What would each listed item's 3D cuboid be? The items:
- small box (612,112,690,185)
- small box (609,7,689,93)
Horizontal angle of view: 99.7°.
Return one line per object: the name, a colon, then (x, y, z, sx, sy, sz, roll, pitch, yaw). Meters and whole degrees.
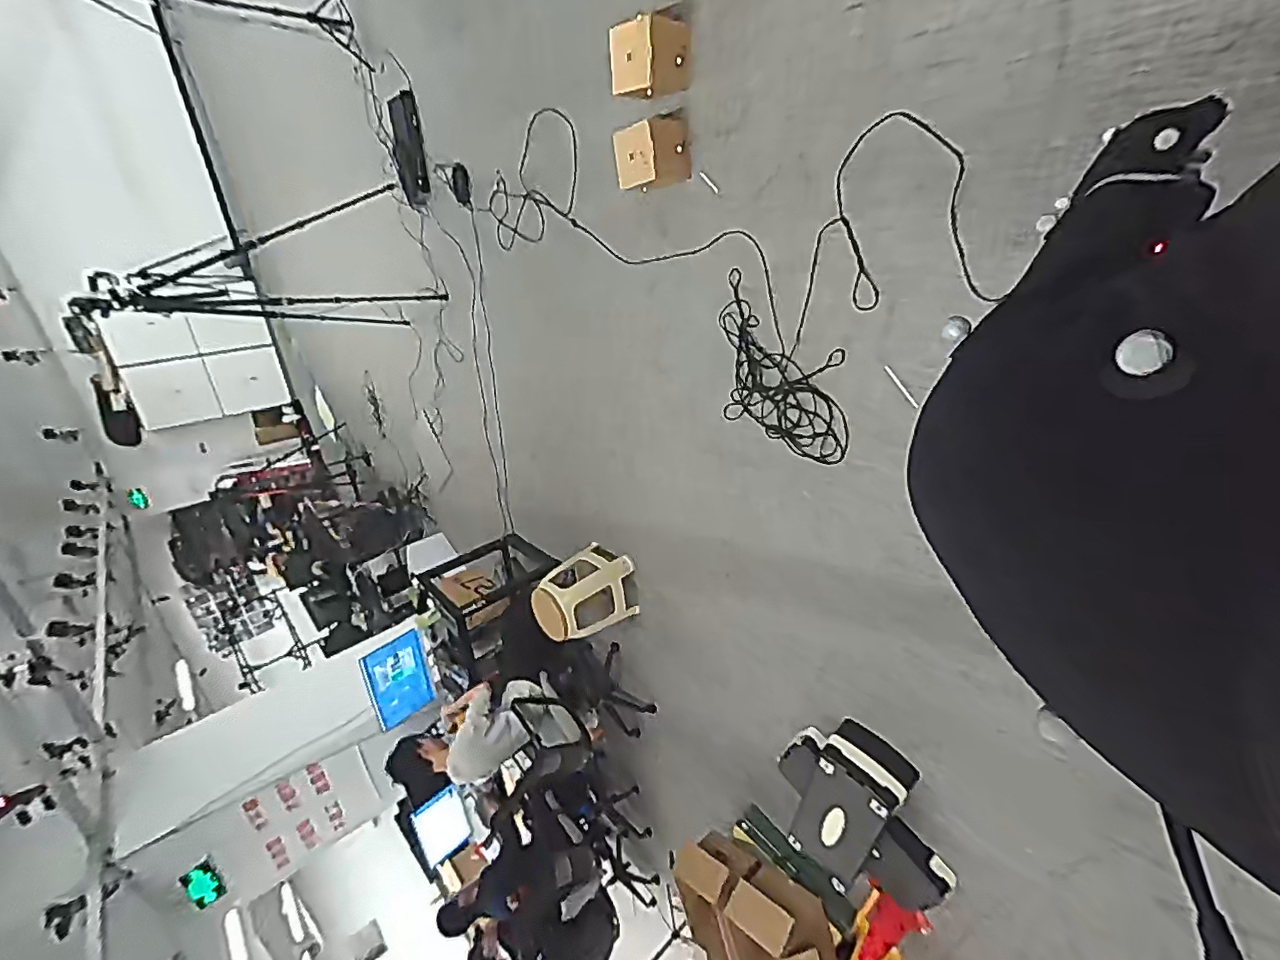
small box: (0.038, -1.063, 1.746, 0.179, 0.176, 0.168, 14, 121, 47)
small box: (0.027, -1.289, 1.634, 0.179, 0.176, 0.168, 23, 127, 42)
